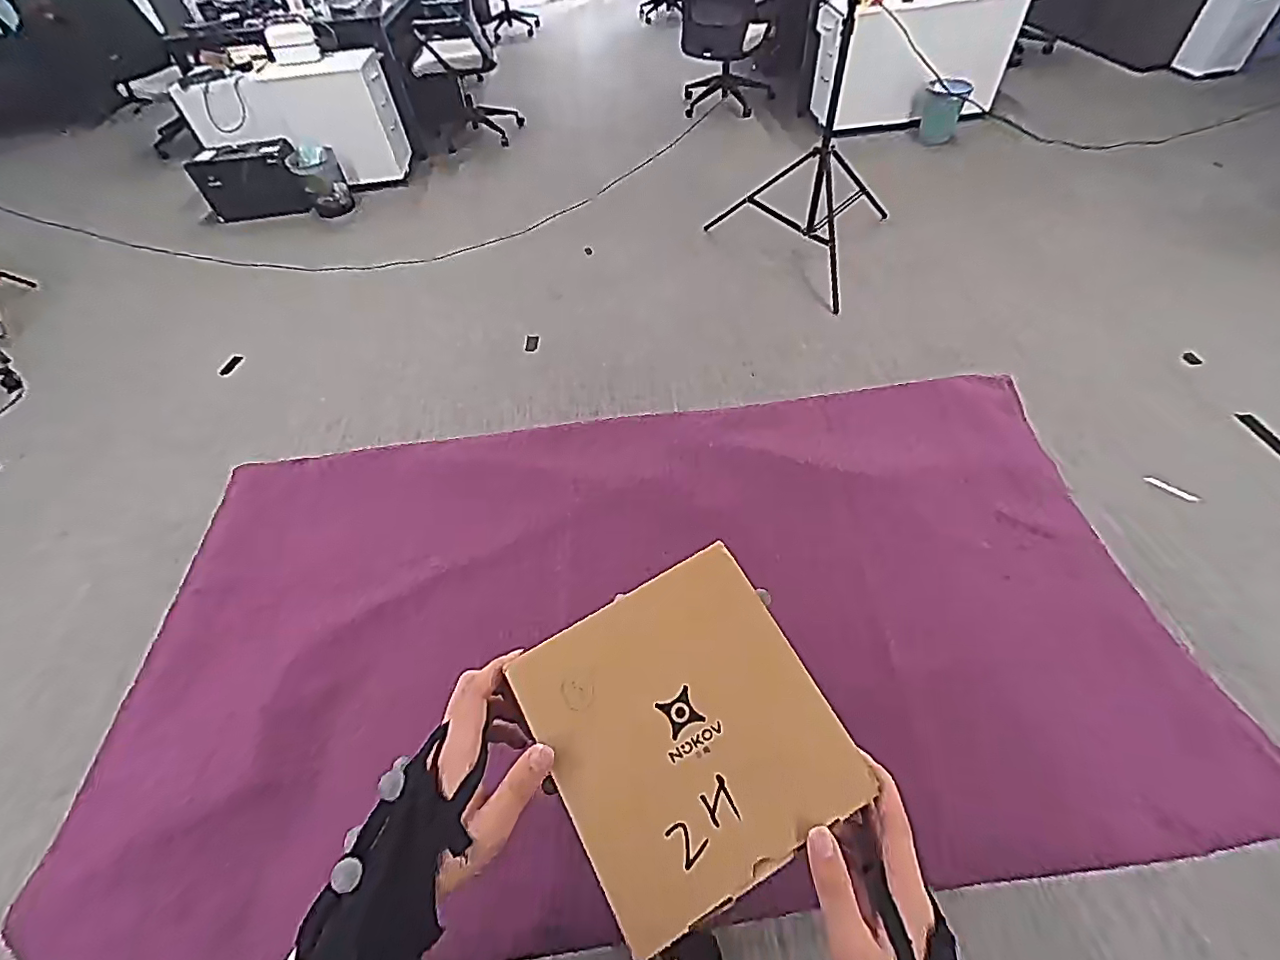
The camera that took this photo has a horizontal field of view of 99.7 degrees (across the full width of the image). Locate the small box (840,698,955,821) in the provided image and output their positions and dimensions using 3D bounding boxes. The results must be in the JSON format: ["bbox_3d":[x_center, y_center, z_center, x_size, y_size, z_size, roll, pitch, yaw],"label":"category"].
[{"bbox_3d":[0.453,0.534,1.024,0.168,0.176,0.179,-7,50,1],"label":"small box"}]

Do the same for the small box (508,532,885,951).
[{"bbox_3d":[0.029,0.168,0.394,0.168,0.176,0.179,-29,72,-9],"label":"small box"}]
